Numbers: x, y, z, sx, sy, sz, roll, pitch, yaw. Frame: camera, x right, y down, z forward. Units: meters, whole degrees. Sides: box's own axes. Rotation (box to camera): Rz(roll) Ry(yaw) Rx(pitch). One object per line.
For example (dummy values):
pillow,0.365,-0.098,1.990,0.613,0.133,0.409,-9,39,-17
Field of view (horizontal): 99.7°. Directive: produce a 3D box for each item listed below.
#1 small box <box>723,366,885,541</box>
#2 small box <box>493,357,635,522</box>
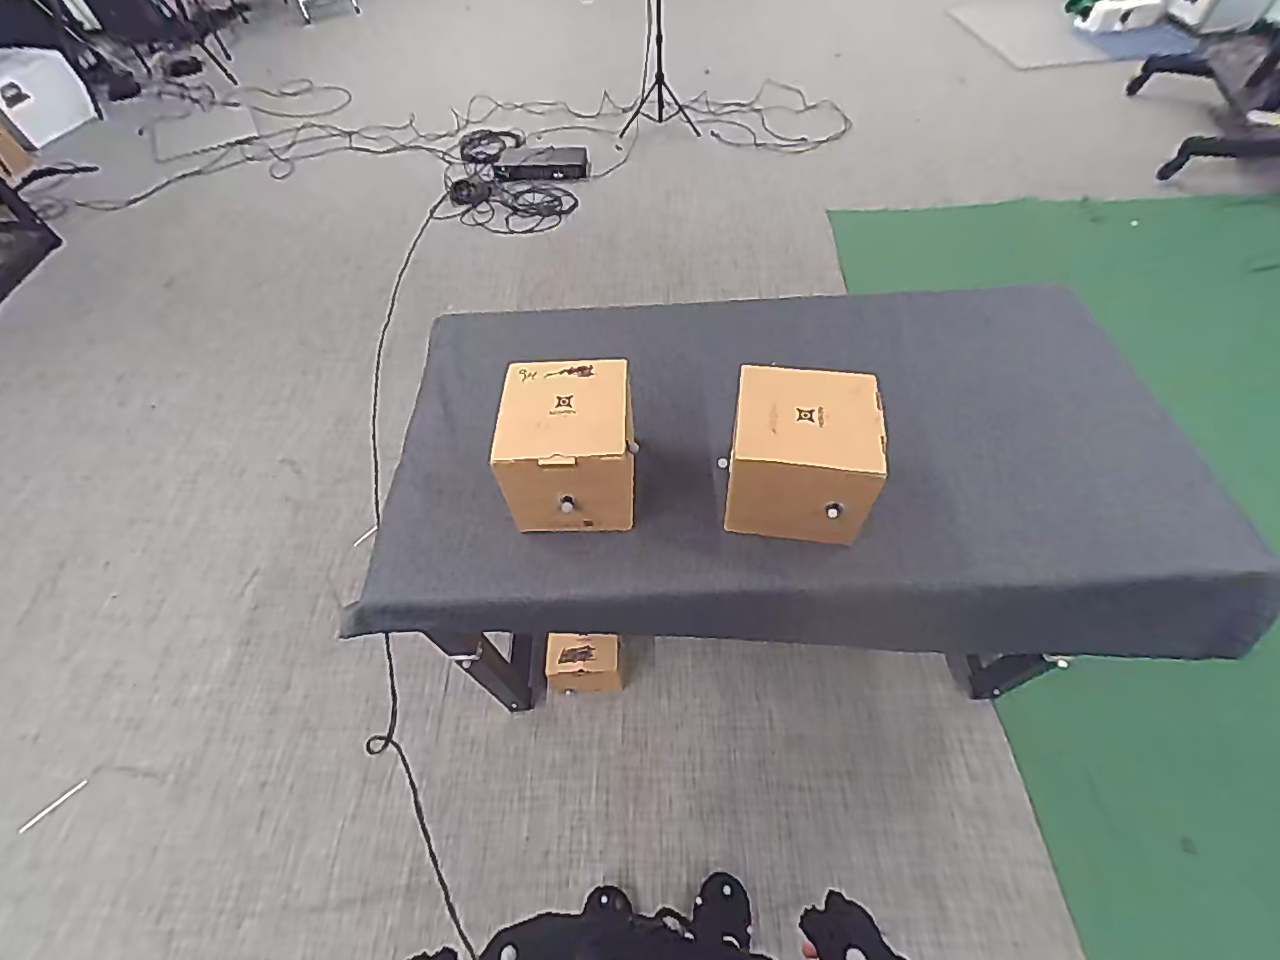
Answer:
small box,0.214,-0.032,0.740,0.179,0.176,0.168,6,55,8
small box,-0.093,-0.052,0.766,0.168,0.176,0.179,0,55,2
